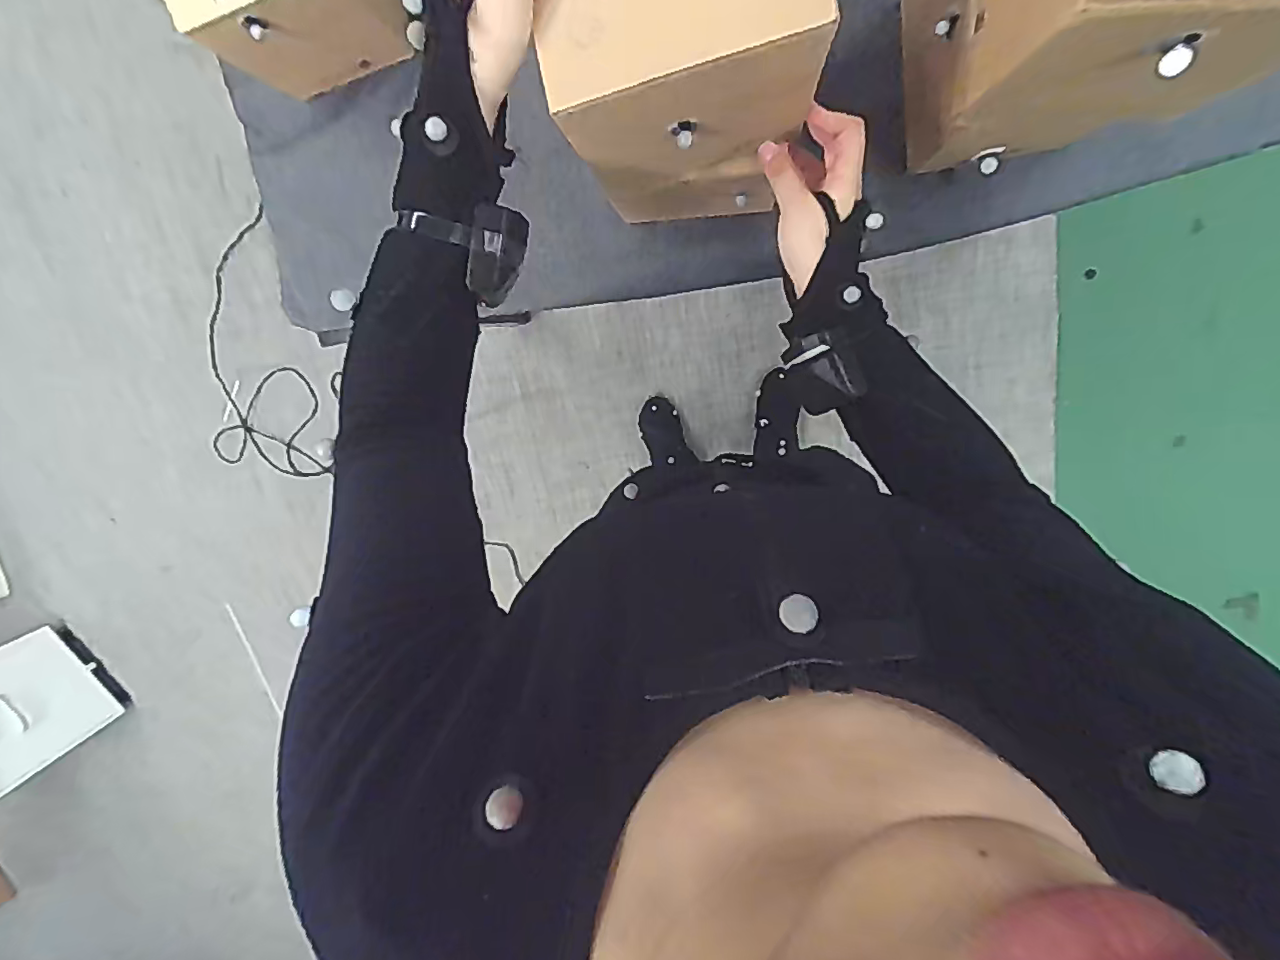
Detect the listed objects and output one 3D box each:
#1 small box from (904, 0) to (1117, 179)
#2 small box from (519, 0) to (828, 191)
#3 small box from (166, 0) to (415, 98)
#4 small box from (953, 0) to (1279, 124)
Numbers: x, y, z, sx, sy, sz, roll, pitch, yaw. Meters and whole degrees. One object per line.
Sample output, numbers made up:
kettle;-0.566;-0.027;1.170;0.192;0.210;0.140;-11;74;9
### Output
small box;0.357;-0.409;0.500;0.168;0.176;0.179;-8;105;10
small box;0.020;-0.334;0.384;0.179;0.176;0.168;-10;100;12
small box;-0.365;-0.537;0.550;0.168;0.176;0.179;-12;105;10
small box;0.340;-0.352;0.349;0.179;0.176;0.168;3;105;8
